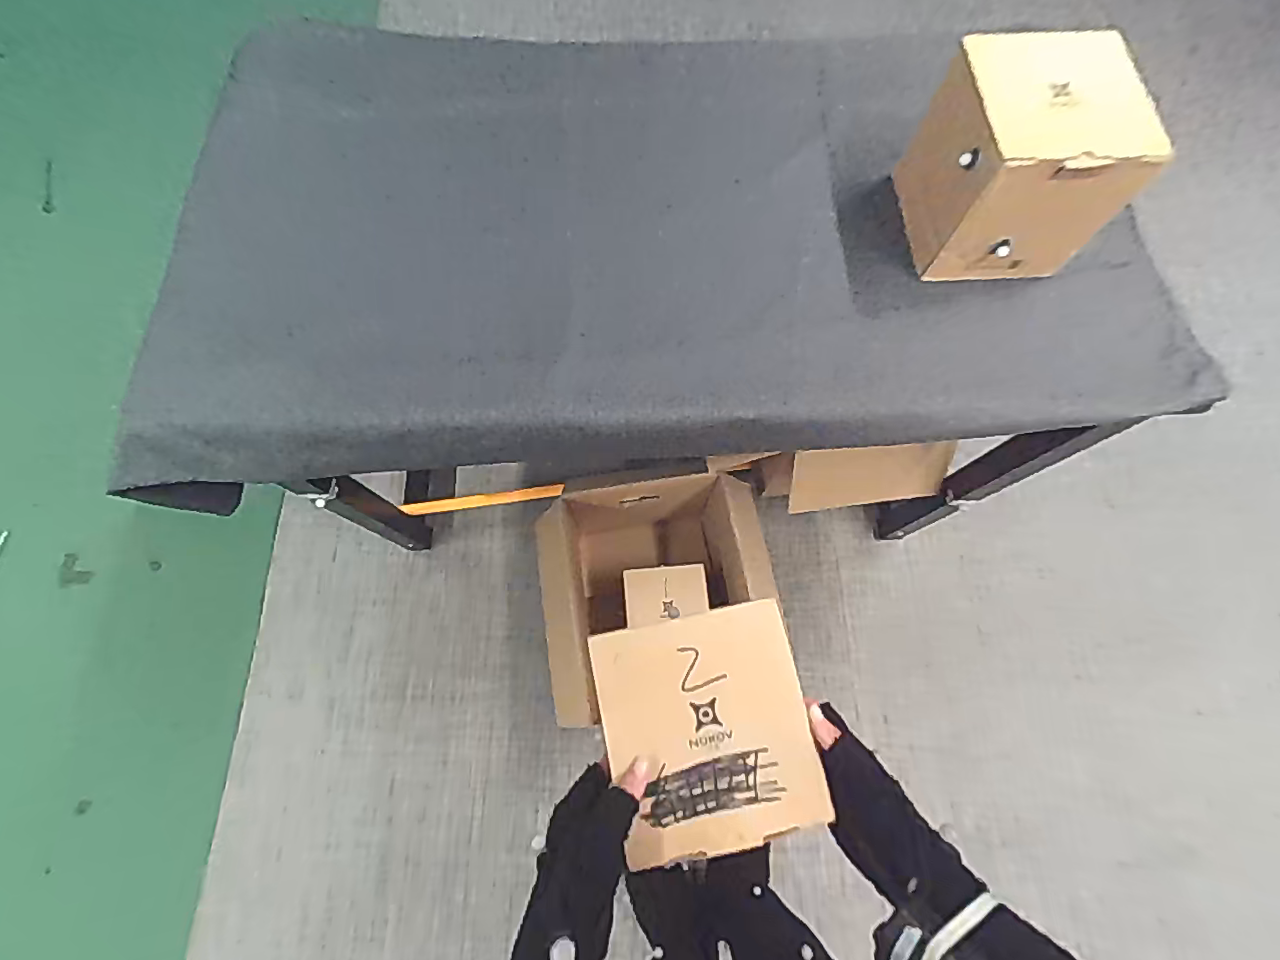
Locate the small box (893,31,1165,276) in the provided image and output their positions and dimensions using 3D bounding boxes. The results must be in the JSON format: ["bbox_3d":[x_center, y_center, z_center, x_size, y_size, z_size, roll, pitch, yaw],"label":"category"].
[{"bbox_3d":[0.413,-0.359,0.613,0.168,0.176,0.179,-3,72,-1],"label":"small box"}]
